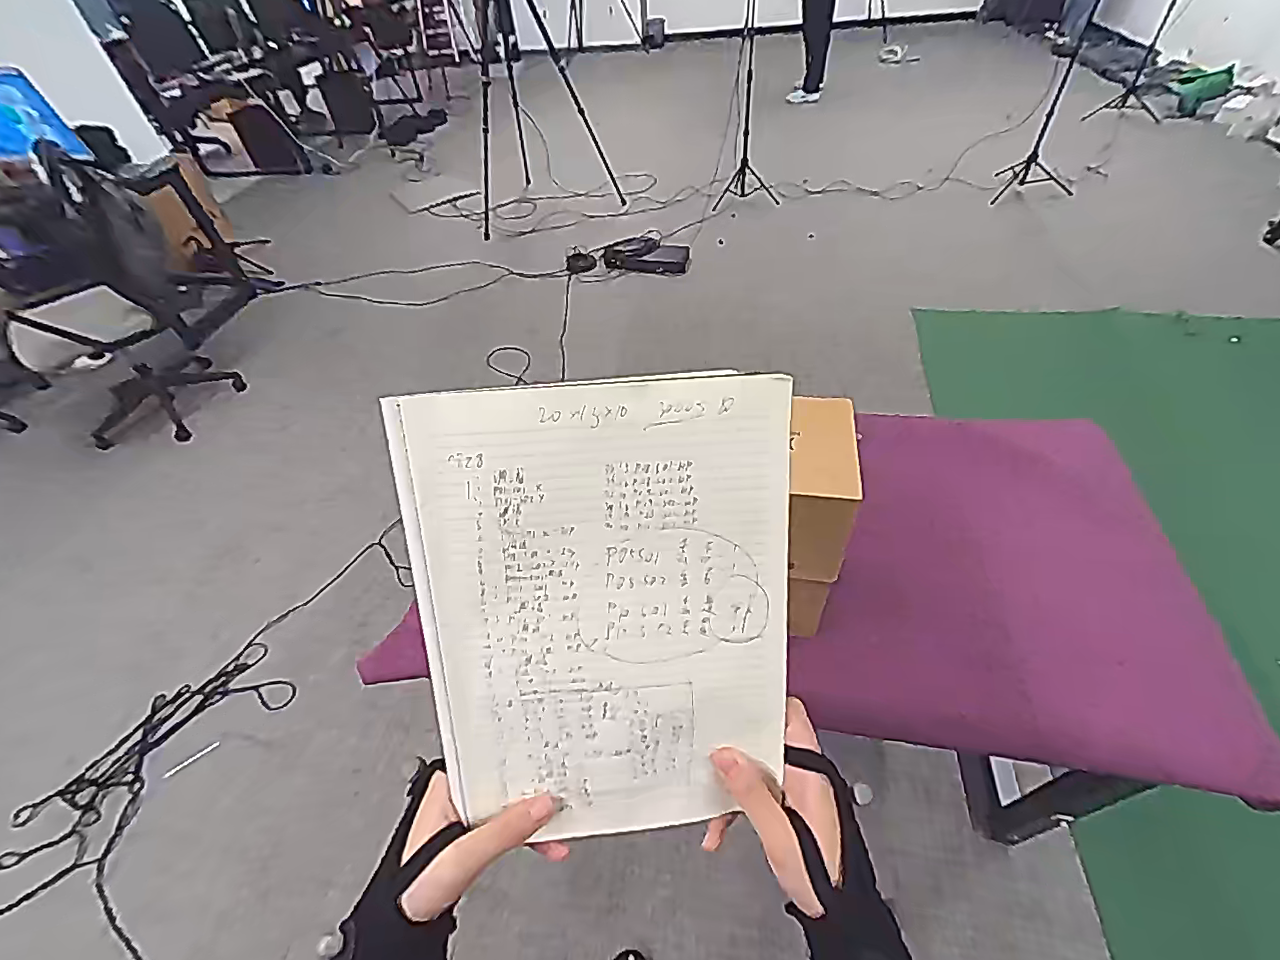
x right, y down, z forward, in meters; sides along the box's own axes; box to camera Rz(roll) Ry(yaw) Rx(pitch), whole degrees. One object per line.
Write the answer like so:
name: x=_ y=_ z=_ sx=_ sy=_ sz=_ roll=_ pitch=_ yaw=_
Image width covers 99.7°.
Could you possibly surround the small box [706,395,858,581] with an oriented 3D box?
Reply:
small box: x=0.178 y=0.011 z=0.706 sx=0.168 sy=0.176 sz=0.179 roll=5 pitch=46 yaw=11
